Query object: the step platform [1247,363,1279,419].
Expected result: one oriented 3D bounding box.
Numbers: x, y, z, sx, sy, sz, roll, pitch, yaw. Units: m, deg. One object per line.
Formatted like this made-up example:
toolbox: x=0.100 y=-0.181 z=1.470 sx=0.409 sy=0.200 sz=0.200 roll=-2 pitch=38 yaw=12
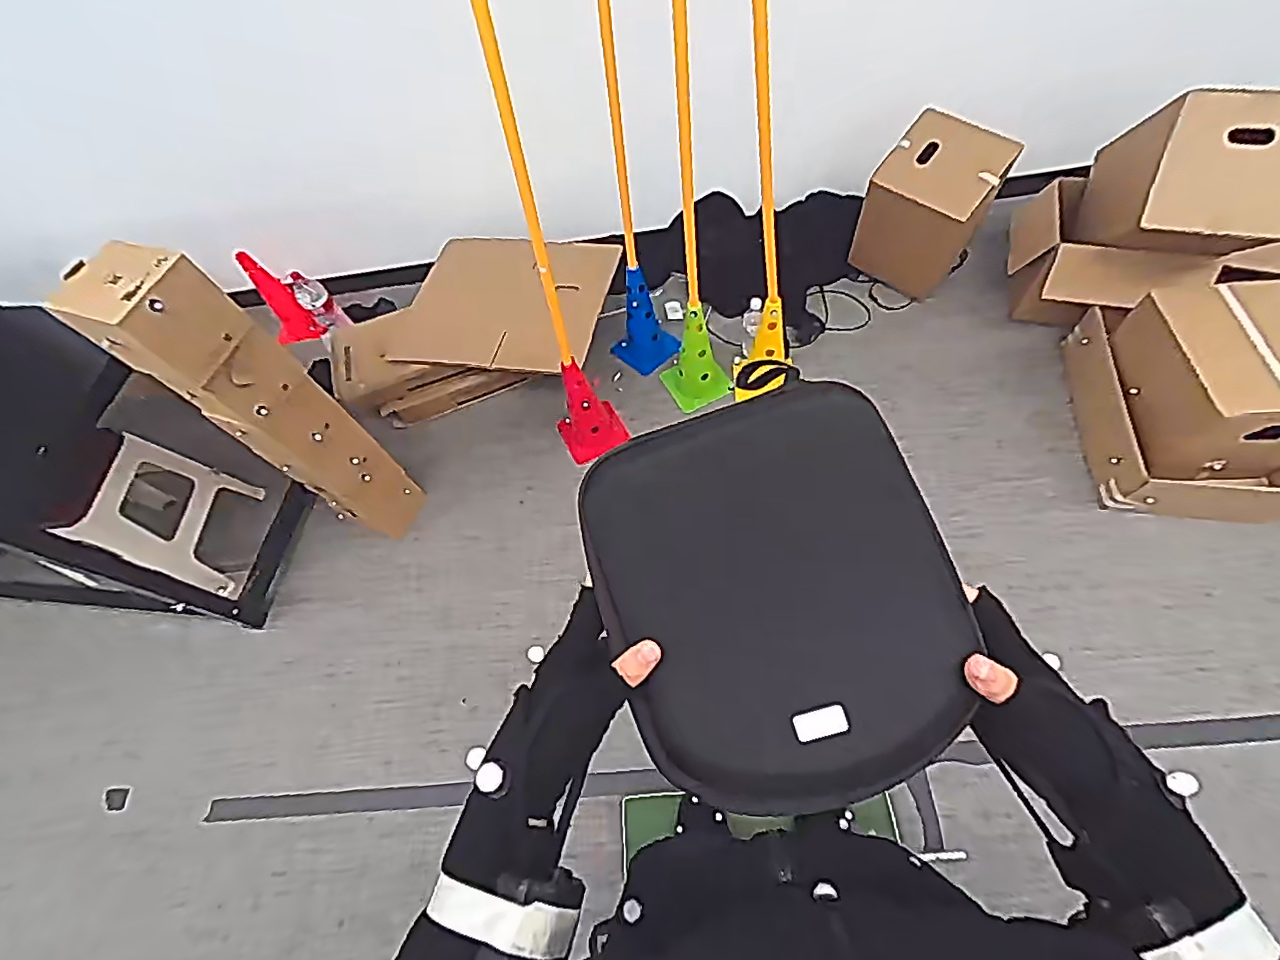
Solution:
step platform: x=2.131 y=-0.374 z=1.526 sx=0.684 sy=0.204 sz=0.286 roll=-32 pitch=62 yaw=-10
